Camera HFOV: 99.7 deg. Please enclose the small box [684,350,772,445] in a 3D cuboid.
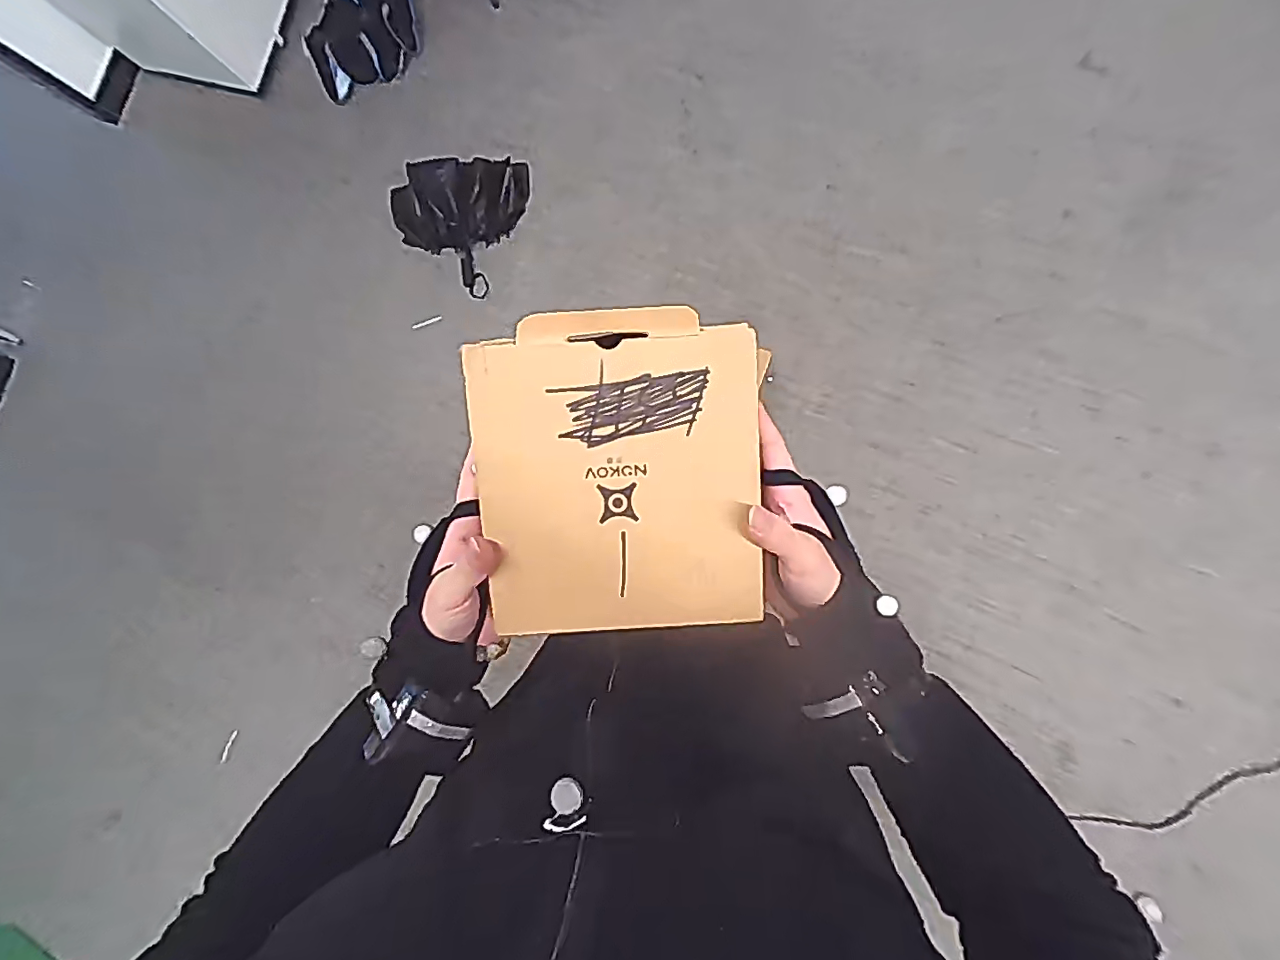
[{"bbox_3d":[0.222,-0.199,1.347,0.168,0.176,0.179,18,89,15],"label":"small box"}]
